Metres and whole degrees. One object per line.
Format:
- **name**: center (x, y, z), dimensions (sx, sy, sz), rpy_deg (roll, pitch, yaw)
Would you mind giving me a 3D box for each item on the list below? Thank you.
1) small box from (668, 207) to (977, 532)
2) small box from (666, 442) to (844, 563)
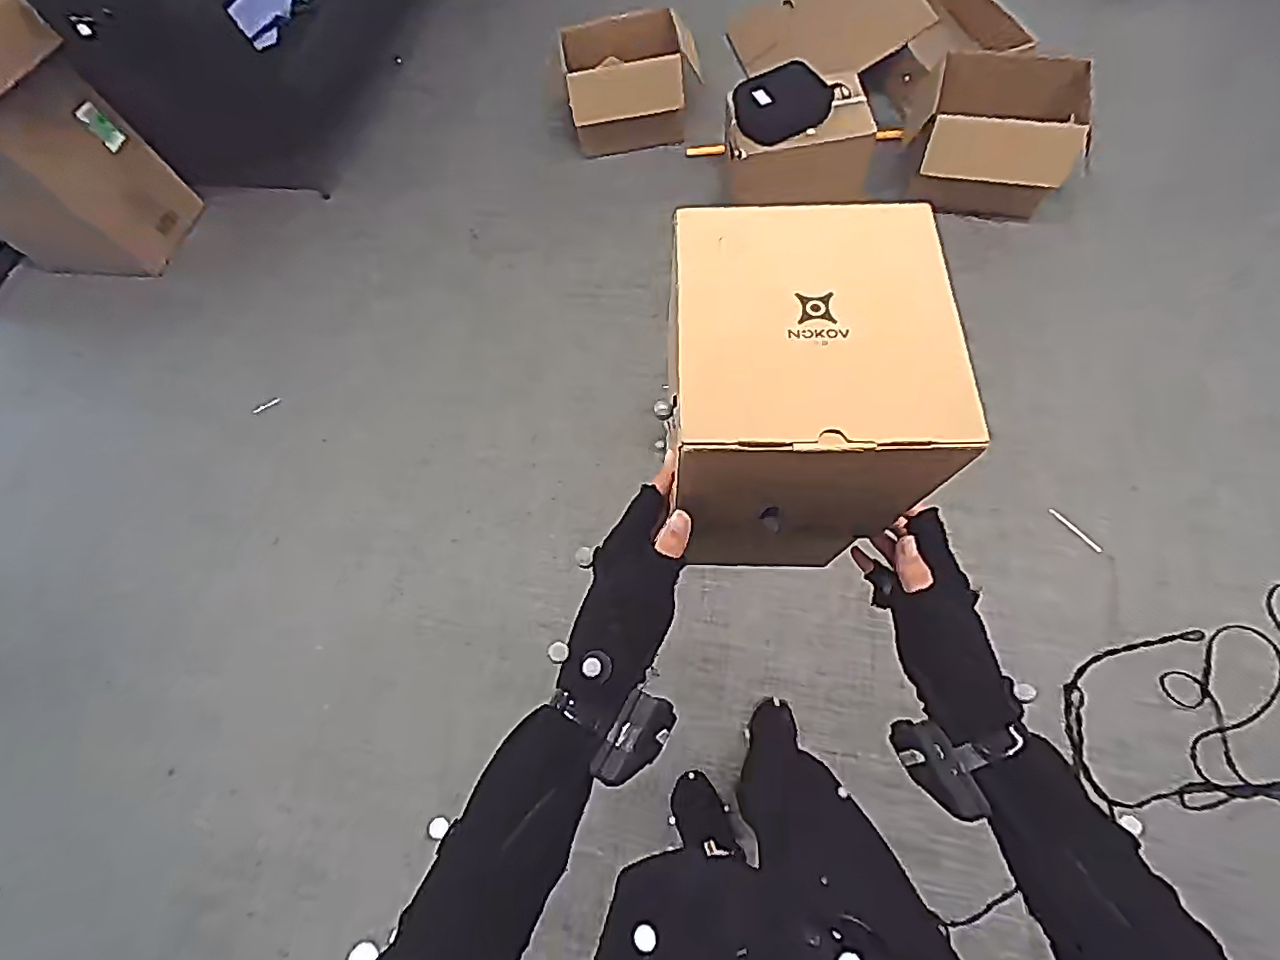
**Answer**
- **small box**: center (0.105, -0.070, 0.400), dimensions (0.168, 0.176, 0.179), rpy_deg (0, 68, 2)
- **small box**: center (0.115, -0.015, 0.553), dimensions (0.179, 0.176, 0.168), rpy_deg (1, 67, 2)
